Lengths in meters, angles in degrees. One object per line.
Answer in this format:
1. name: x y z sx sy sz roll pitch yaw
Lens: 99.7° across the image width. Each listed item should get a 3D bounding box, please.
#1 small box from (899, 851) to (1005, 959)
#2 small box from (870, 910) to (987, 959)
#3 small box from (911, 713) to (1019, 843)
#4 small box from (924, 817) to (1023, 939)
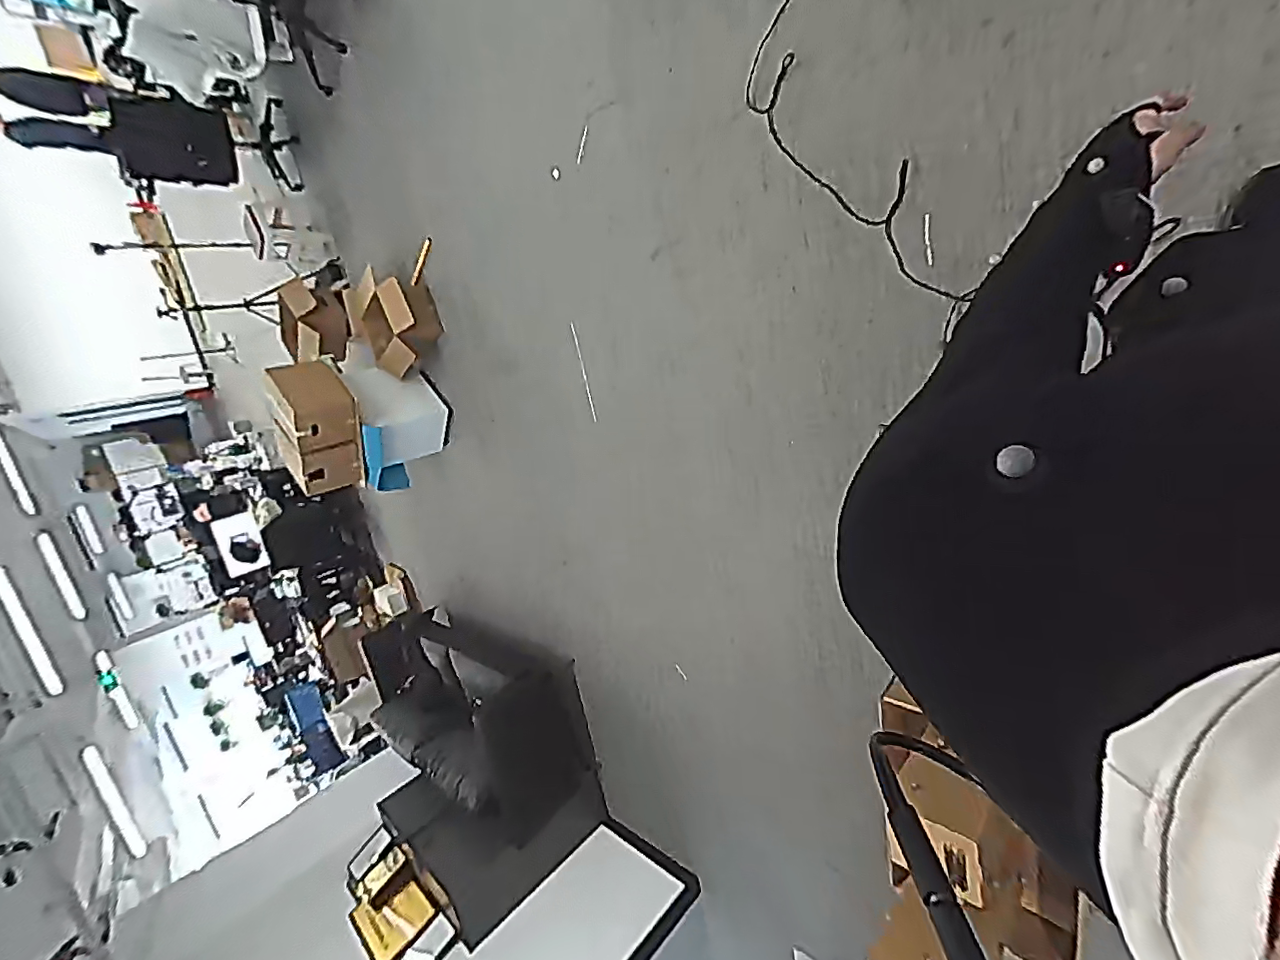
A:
1. small box: 0.693 0.979 1.199 0.179 0.176 0.168 6 111 43
2. small box: 0.580 1.027 1.089 0.179 0.176 0.168 6 111 43
3. small box: 0.748 0.668 1.241 0.179 0.176 0.168 3 111 45
4. small box: 0.805 0.928 1.306 0.179 0.176 0.168 9 113 44
